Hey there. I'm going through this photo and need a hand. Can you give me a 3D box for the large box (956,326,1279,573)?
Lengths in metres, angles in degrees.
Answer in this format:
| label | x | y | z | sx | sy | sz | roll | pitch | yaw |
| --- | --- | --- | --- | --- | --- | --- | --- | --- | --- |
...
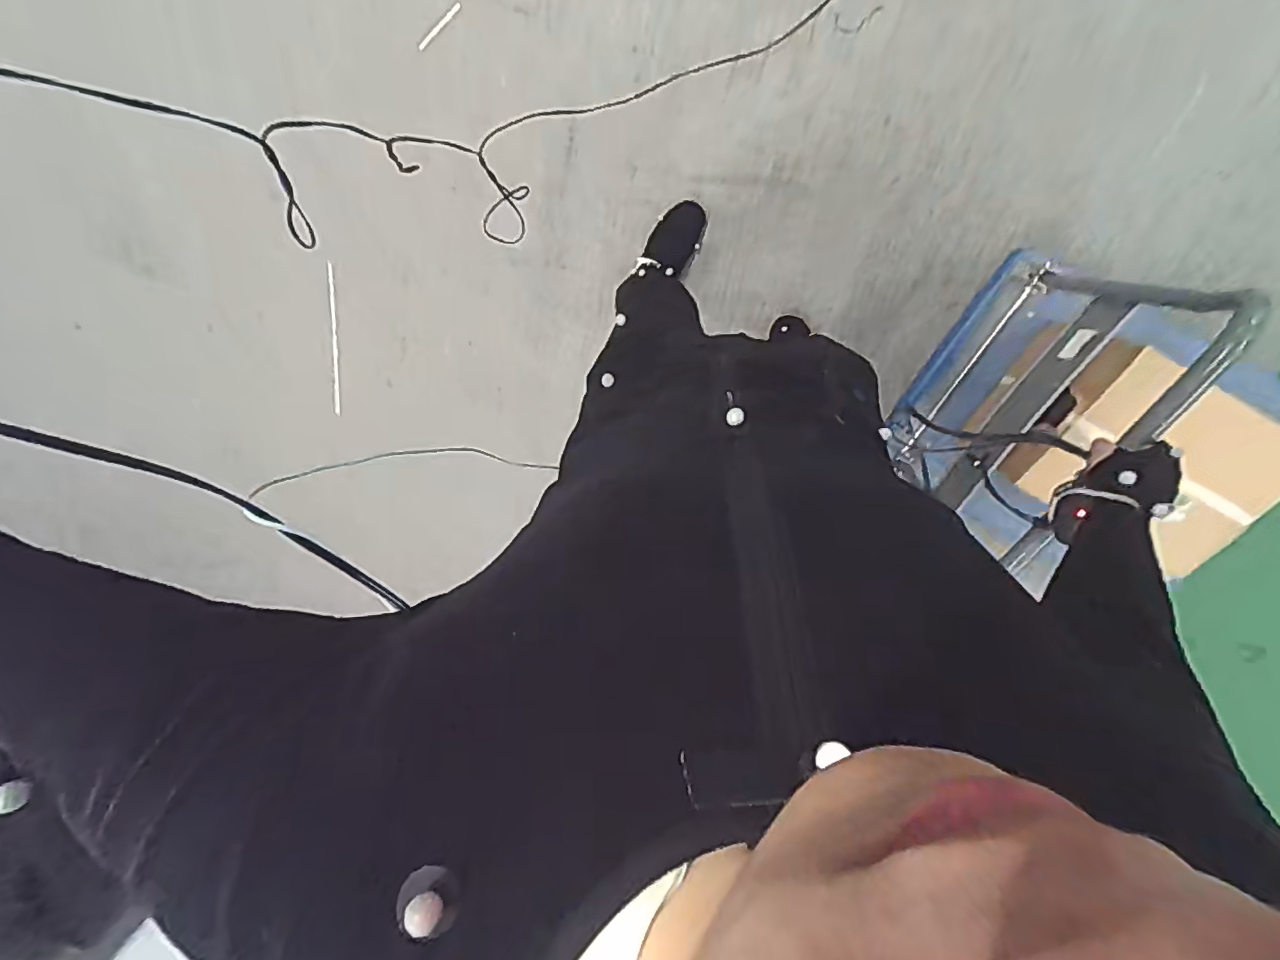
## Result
| label | x | y | z | sx | sy | sz | roll | pitch | yaw |
| --- | --- | --- | --- | --- | --- | --- | --- | --- | --- |
| large box | 0.986 | -0.081 | 1.140 | 0.408 | 0.320 | 0.320 | 28 | 116 | -4 |
